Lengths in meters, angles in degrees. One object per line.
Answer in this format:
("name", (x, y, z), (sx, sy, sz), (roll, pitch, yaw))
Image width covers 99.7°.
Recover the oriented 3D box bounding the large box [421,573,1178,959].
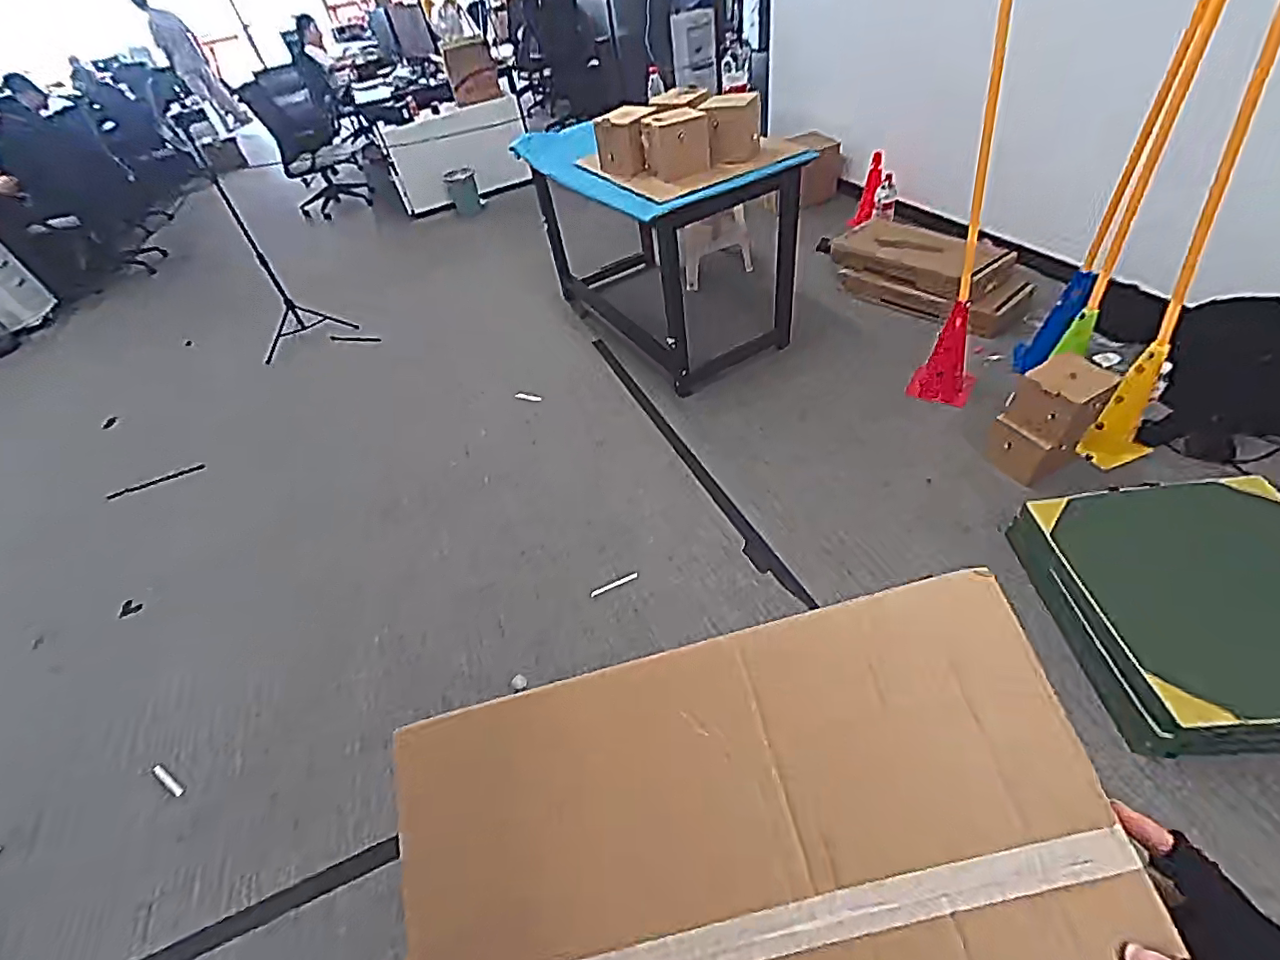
("large box", (0.096, 0.306, 0.445), (0.408, 0.320, 0.320), (-17, 69, 4))
